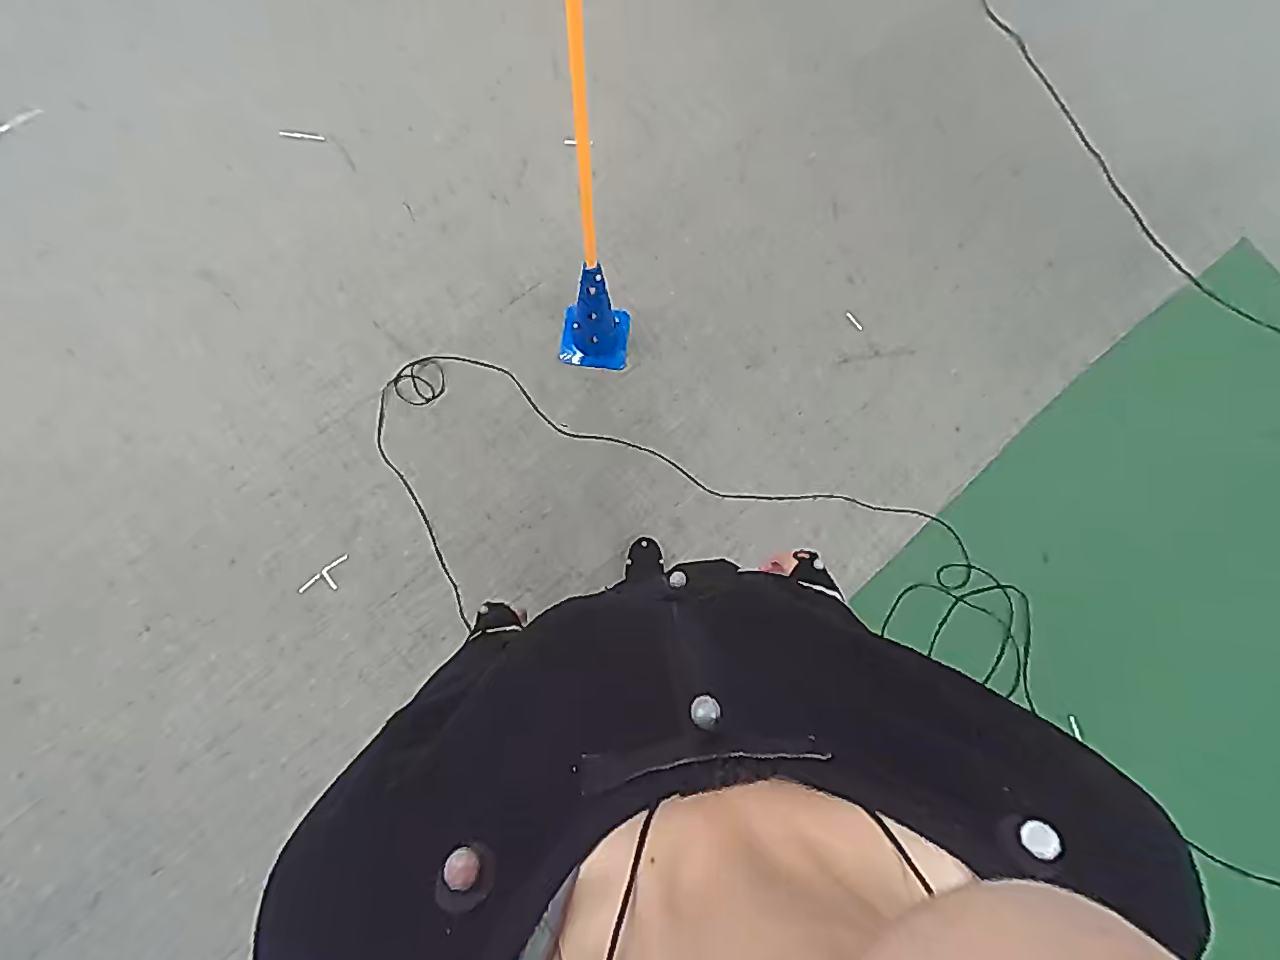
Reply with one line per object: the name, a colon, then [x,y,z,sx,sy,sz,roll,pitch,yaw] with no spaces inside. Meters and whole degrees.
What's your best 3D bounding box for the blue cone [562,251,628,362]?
blue cone: [-0.125,-0.489,1.474,0.192,0.380,0.193,5,75,-2]
